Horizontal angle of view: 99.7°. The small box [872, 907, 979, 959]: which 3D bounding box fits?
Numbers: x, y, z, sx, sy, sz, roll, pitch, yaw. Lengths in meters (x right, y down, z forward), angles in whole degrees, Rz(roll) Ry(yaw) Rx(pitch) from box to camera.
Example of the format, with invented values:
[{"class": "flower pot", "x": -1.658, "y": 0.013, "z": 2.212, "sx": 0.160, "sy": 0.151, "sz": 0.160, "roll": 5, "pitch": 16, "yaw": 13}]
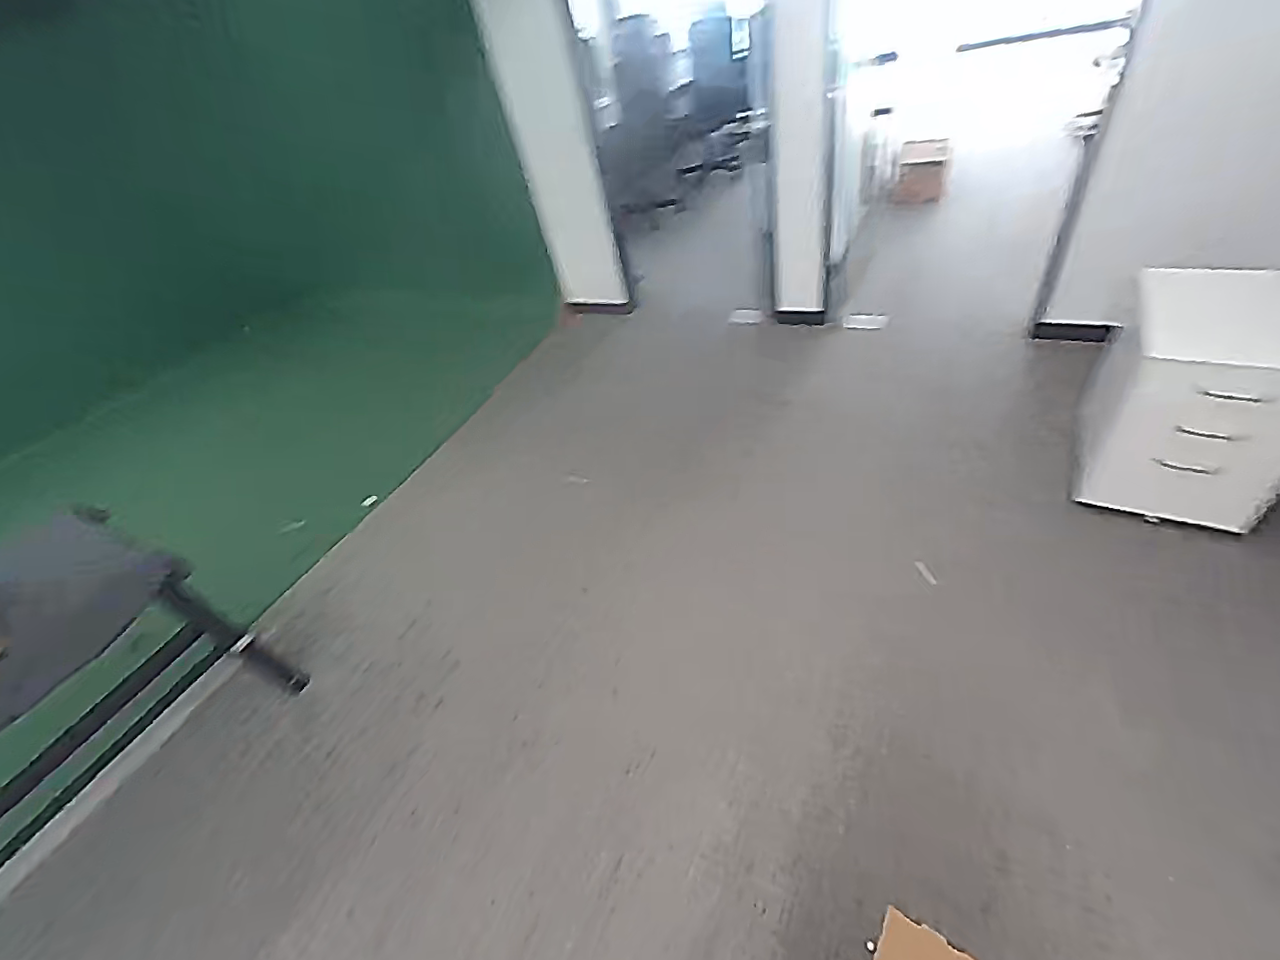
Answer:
[{"class": "small box", "x": 0.534, "y": 0.973, "z": 1.031, "sx": 0.168, "sy": 0.176, "sz": 0.179, "roll": 19, "pitch": 51, "yaw": 31}]
